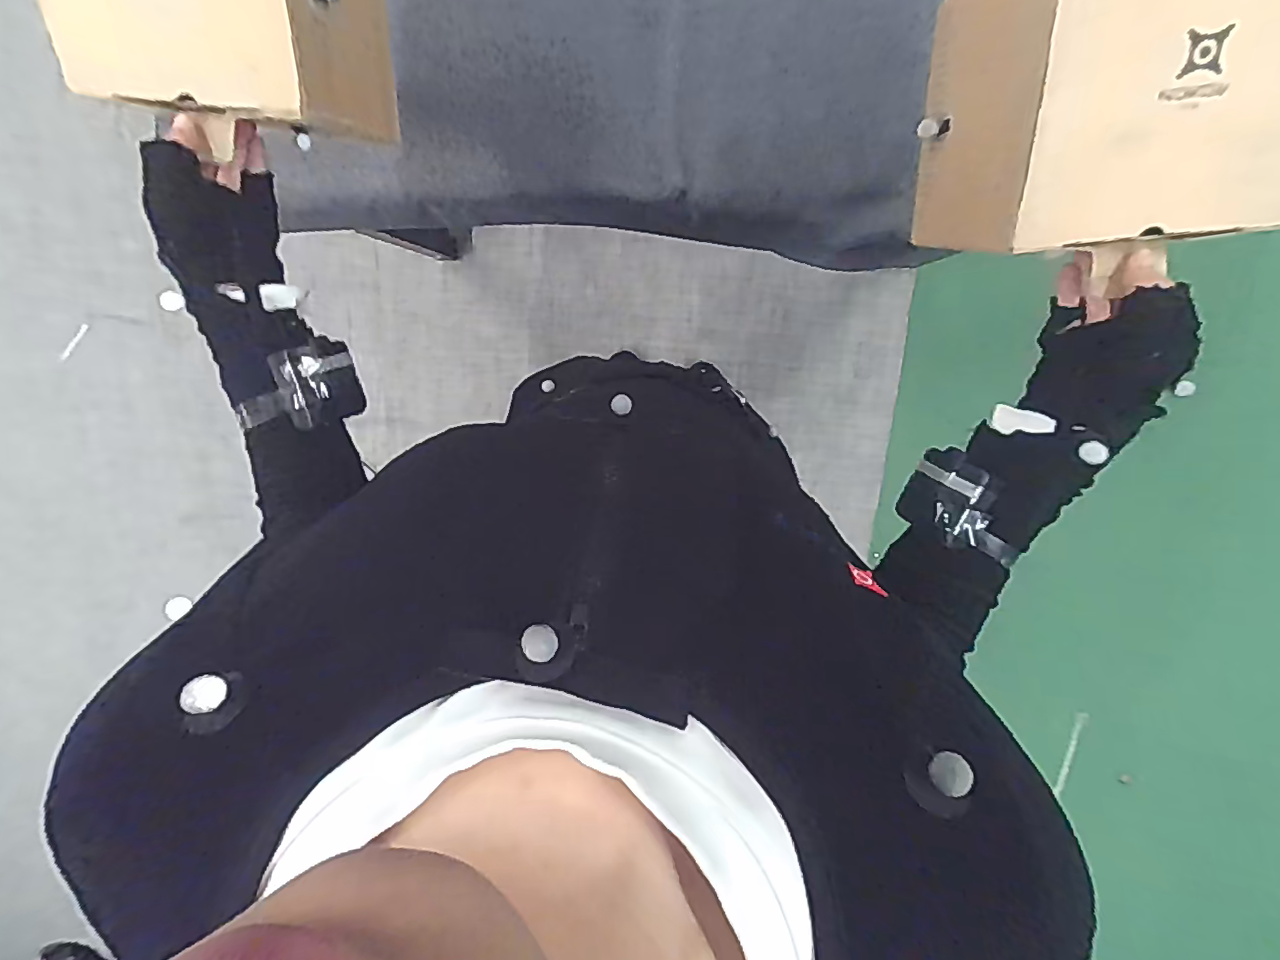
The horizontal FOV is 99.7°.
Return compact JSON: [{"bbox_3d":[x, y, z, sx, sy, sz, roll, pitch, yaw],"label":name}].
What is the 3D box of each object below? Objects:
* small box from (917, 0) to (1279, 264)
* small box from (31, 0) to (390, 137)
[{"bbox_3d":[0.313,-0.257,0.374,0.168,0.176,0.179,-3,116,5],"label":"small box"},{"bbox_3d":[-0.308,-0.376,0.409,0.168,0.176,0.179,5,115,-3],"label":"small box"}]
